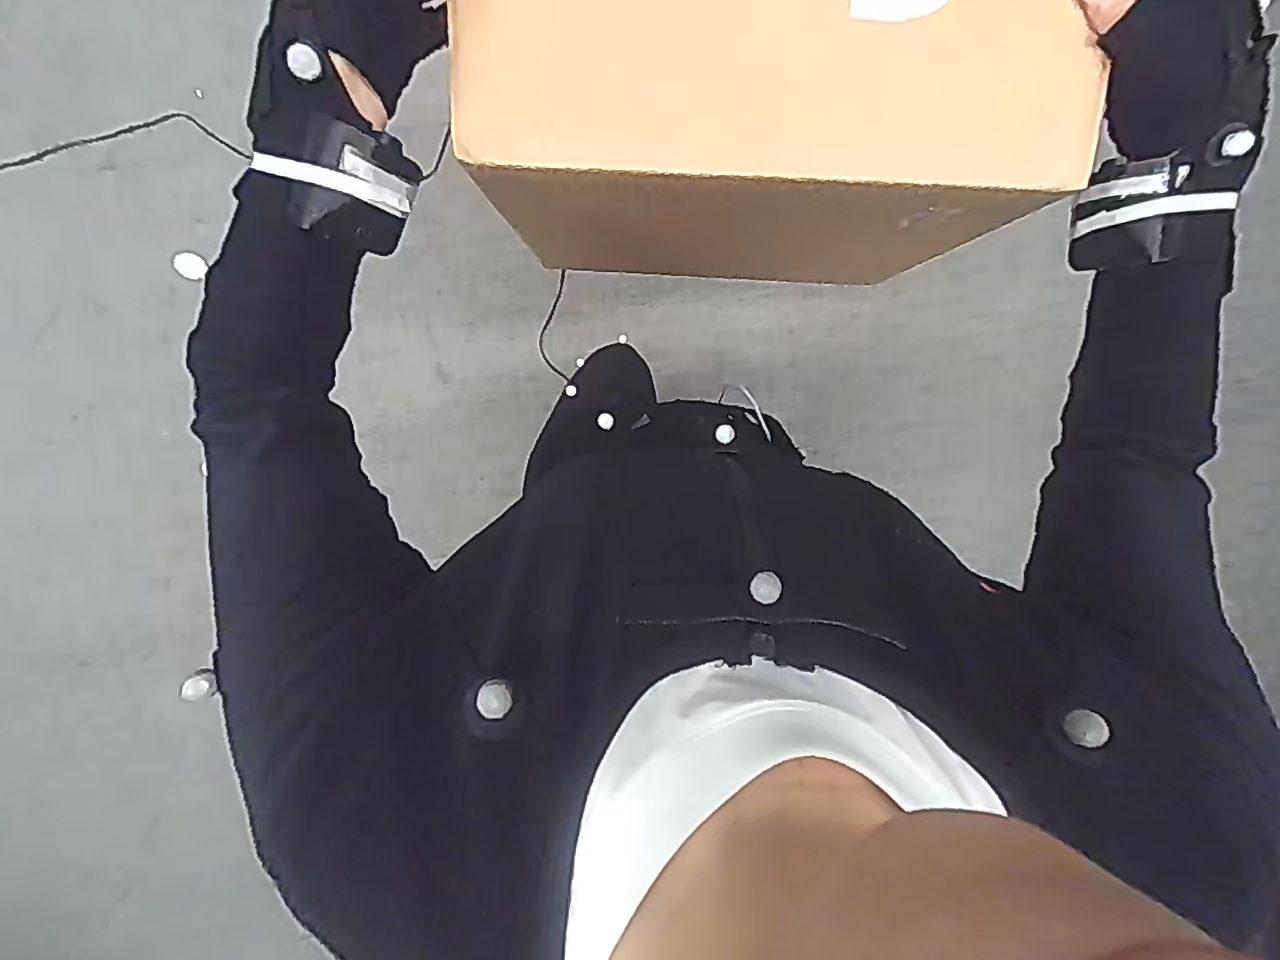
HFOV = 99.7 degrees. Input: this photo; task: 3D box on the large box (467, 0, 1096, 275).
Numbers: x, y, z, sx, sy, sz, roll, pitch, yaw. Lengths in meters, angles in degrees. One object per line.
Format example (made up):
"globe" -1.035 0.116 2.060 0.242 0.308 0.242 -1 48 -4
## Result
"large box" 0.089 -0.376 0.480 0.408 0.320 0.320 2 100 0
